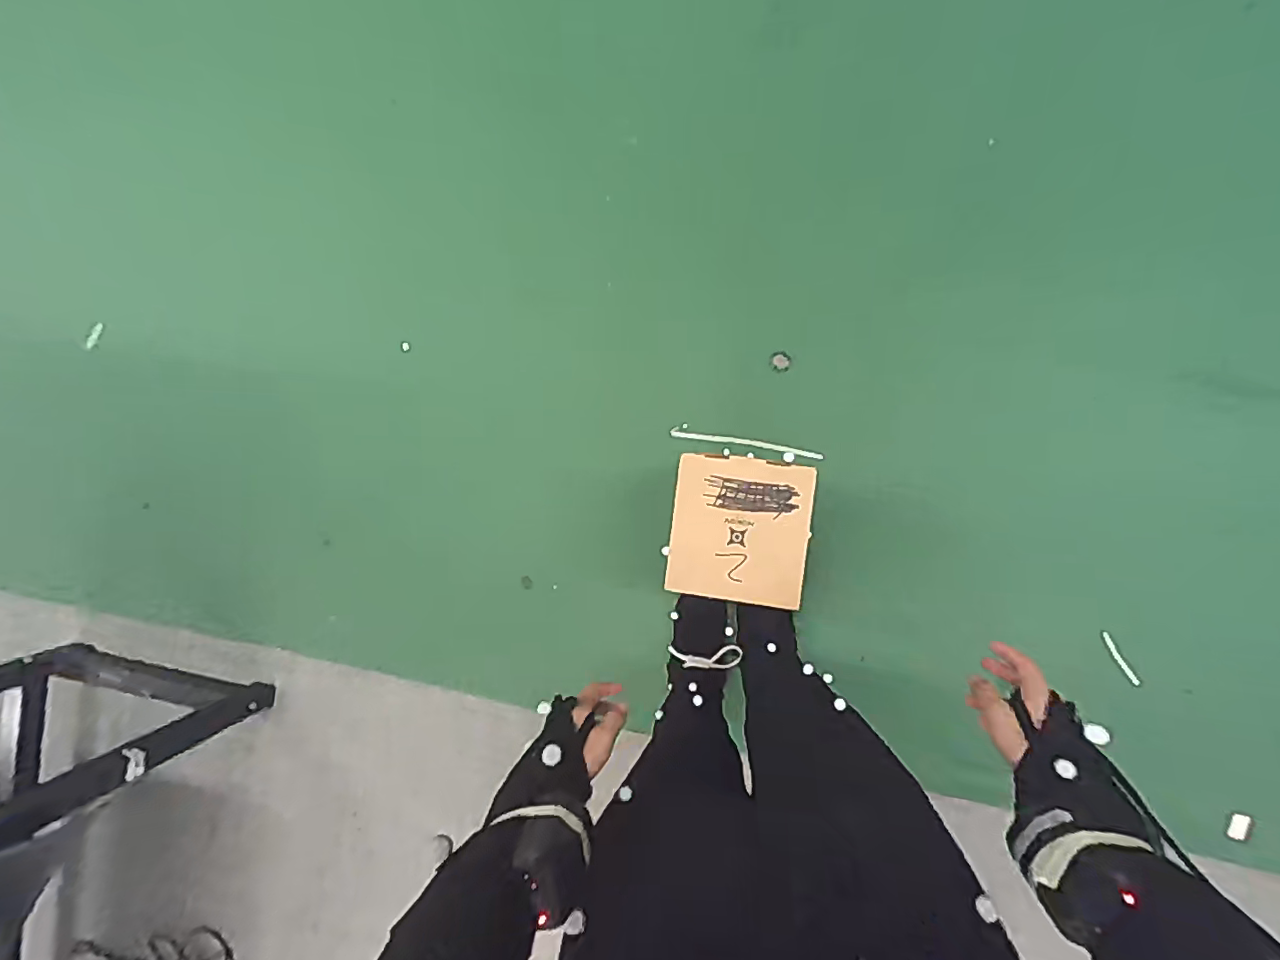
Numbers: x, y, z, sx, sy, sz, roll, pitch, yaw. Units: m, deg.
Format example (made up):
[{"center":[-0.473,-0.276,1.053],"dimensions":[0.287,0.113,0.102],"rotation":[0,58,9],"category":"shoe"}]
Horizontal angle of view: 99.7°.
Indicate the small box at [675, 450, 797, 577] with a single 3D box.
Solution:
[{"center":[0.157,0.049,0.900],"dimensions":[0.168,0.176,0.179],"rotation":[7,92,9],"category":"small box"}]
